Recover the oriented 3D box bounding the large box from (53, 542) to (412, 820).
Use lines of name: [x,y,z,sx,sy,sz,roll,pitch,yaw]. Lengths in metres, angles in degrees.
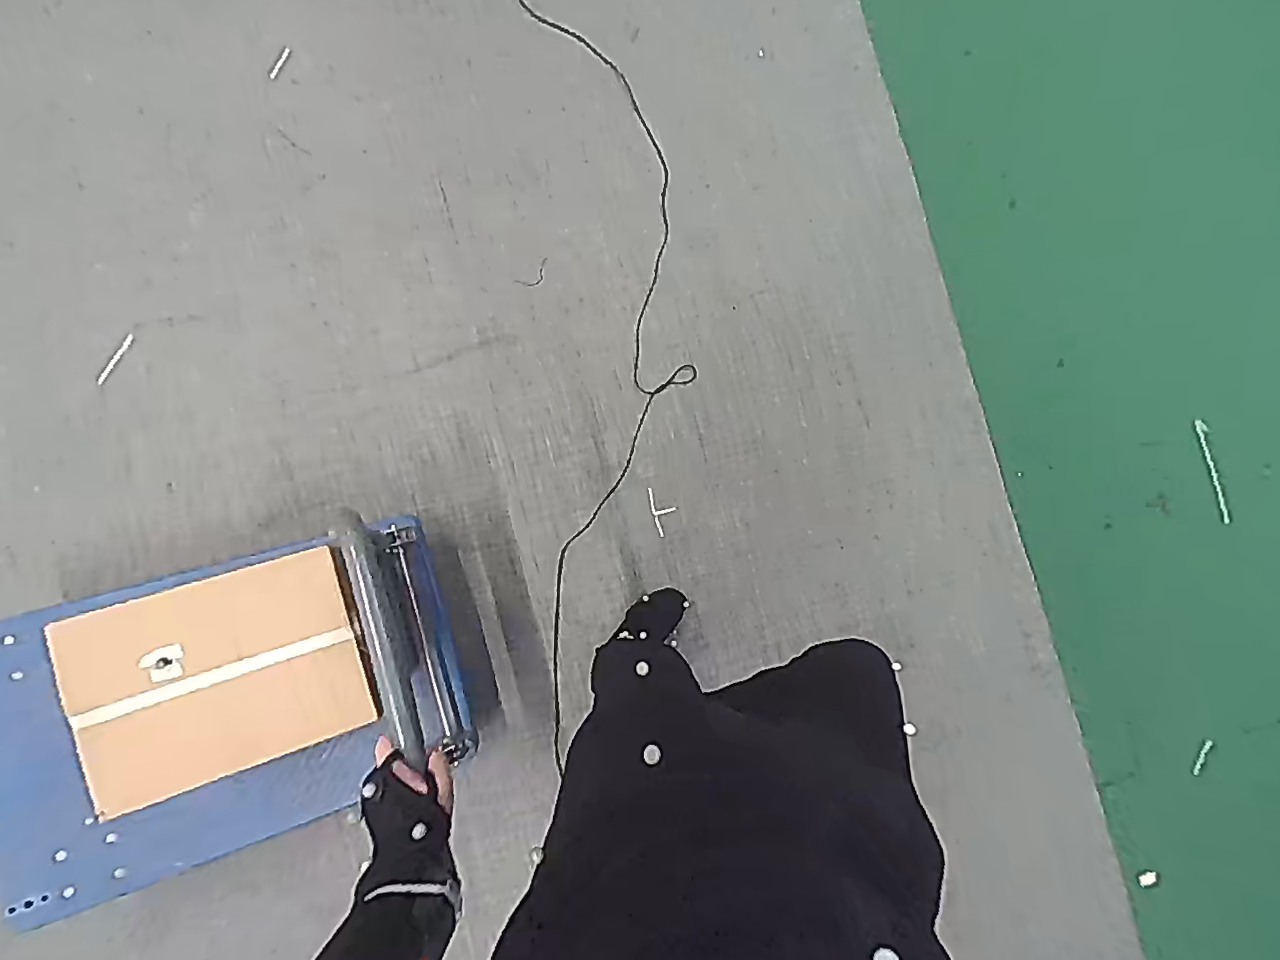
large box: [-0.698,0.325,1.010,0.408,0.320,0.320,-17,88,-15]
